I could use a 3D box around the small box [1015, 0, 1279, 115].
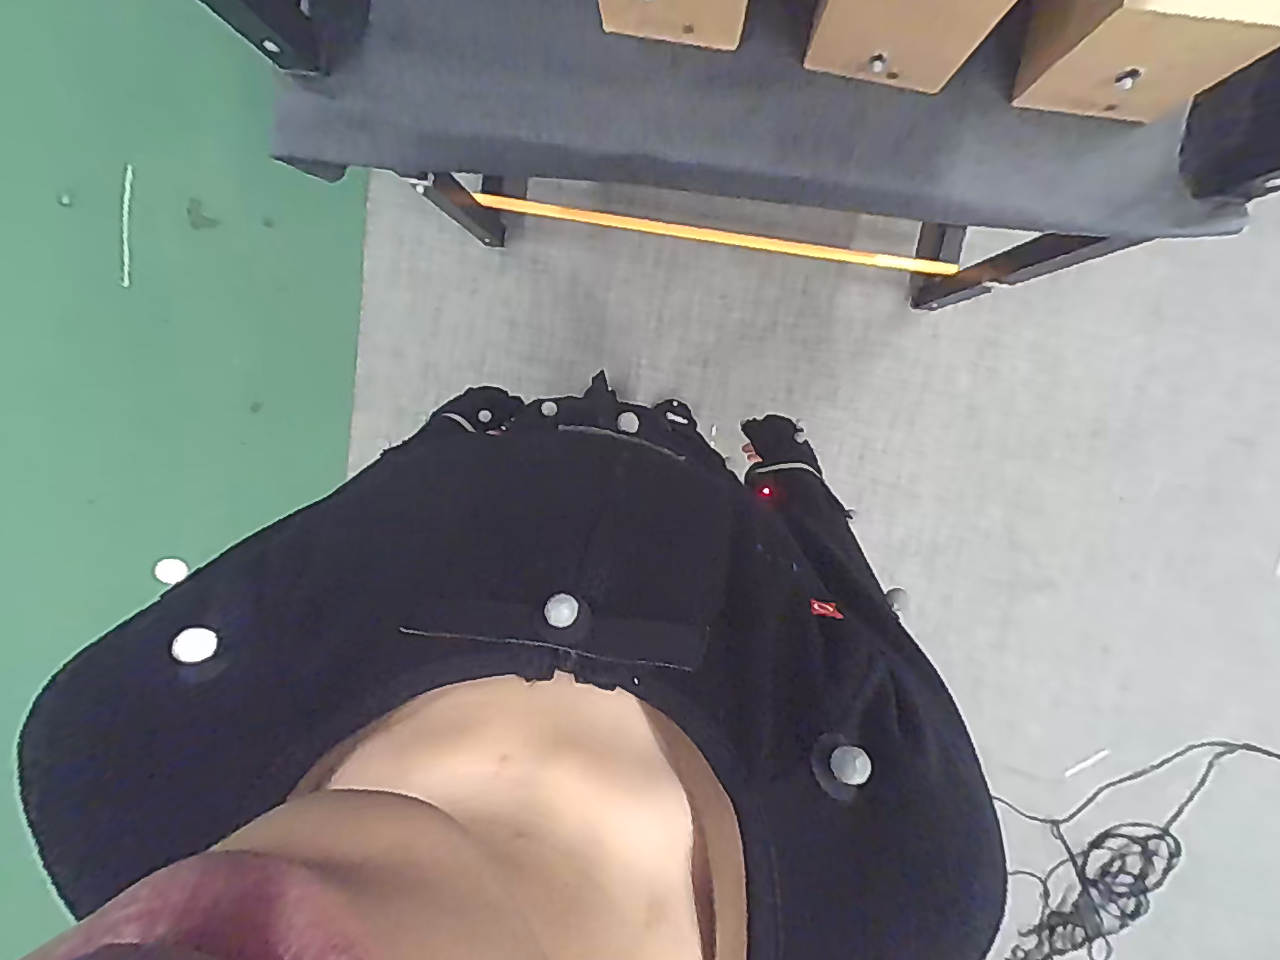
[{"bbox_3d":[0.530,-0.514,0.555,0.168,0.176,0.179,9,98,1],"label":"small box"}]

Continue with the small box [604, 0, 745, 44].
[{"bbox_3d":[0.046,-0.610,0.570,0.168,0.176,0.179,10,99,1],"label":"small box"}]
